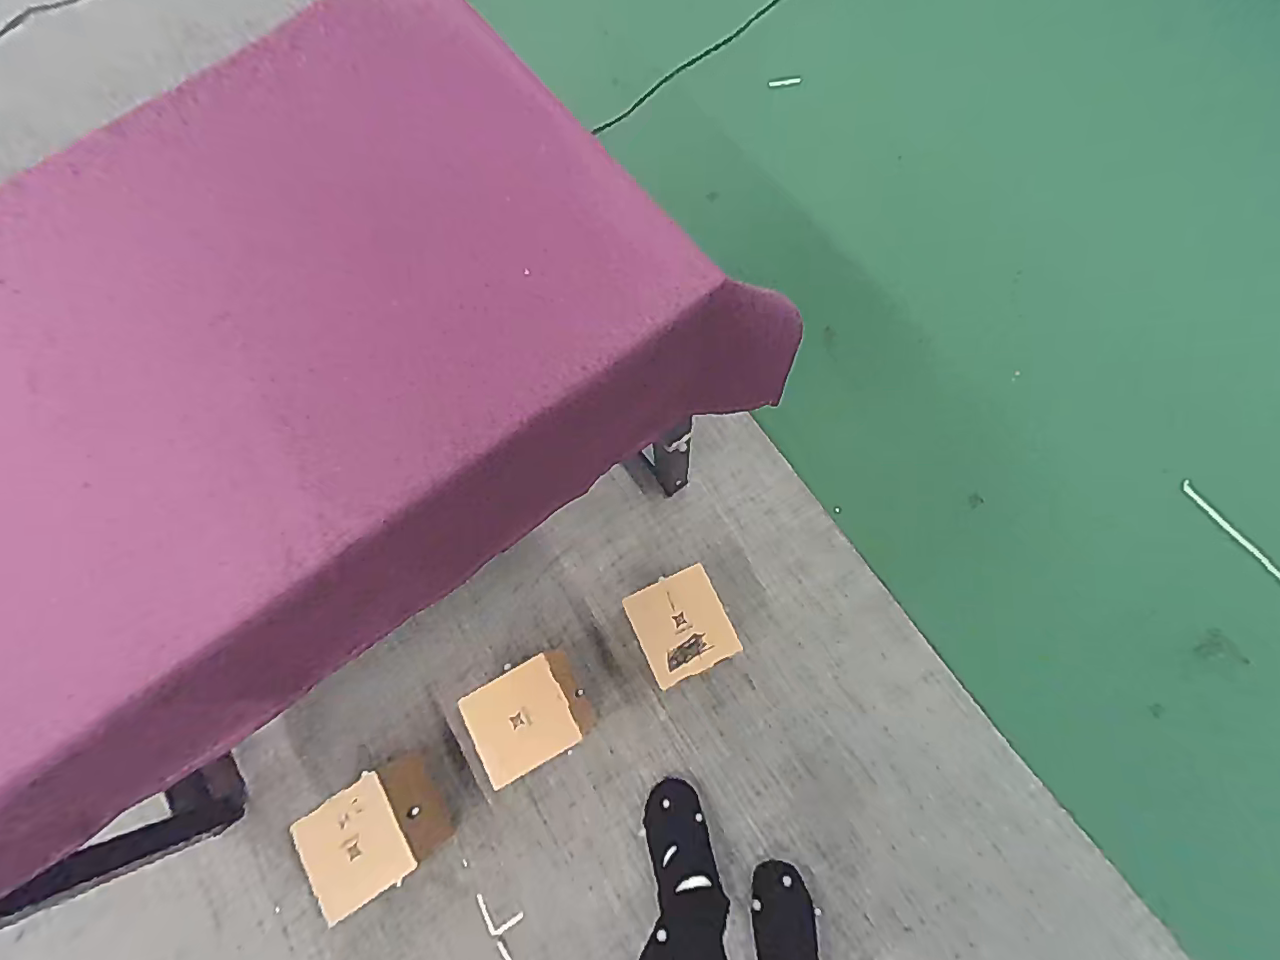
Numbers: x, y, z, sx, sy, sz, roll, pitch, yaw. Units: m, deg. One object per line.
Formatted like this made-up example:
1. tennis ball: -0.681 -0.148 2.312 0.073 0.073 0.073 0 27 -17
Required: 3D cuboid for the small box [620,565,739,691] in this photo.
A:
1. small box: 0.076 0.286 1.053 0.168 0.176 0.179 -25 73 -4
